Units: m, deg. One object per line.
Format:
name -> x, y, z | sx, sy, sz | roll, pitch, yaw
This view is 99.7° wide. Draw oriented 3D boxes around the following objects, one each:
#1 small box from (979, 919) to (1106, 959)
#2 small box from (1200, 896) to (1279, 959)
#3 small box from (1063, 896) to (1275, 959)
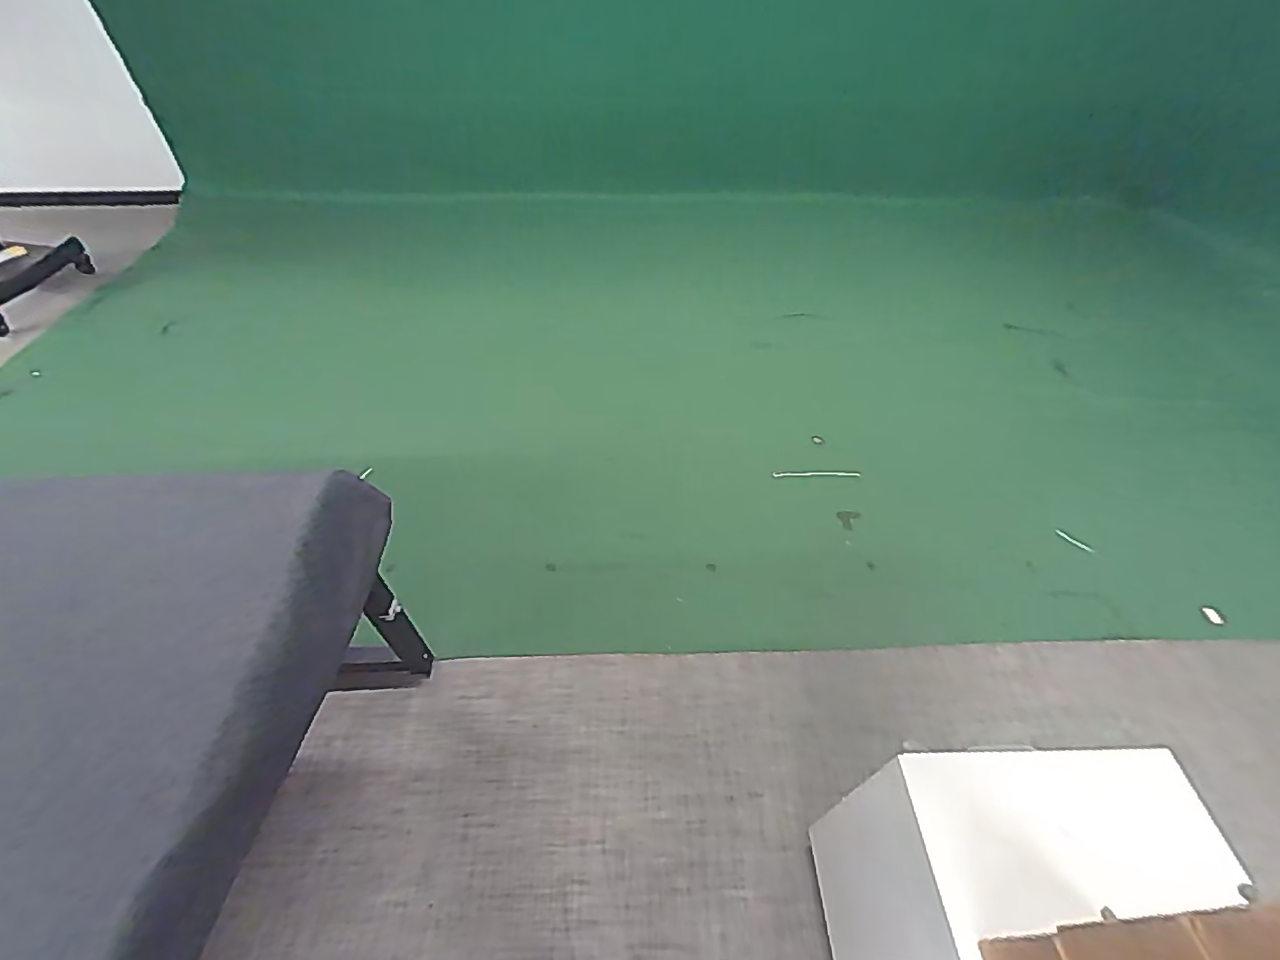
small box -> 0.483, 0.538, 0.527 | 0.179, 0.176, 0.168 | -5, 48, -3
small box -> 0.485, 0.317, 0.285 | 0.168, 0.176, 0.179 | -5, 48, -4
small box -> 0.487, 0.426, 0.407 | 0.179, 0.176, 0.168 | -5, 48, -6
